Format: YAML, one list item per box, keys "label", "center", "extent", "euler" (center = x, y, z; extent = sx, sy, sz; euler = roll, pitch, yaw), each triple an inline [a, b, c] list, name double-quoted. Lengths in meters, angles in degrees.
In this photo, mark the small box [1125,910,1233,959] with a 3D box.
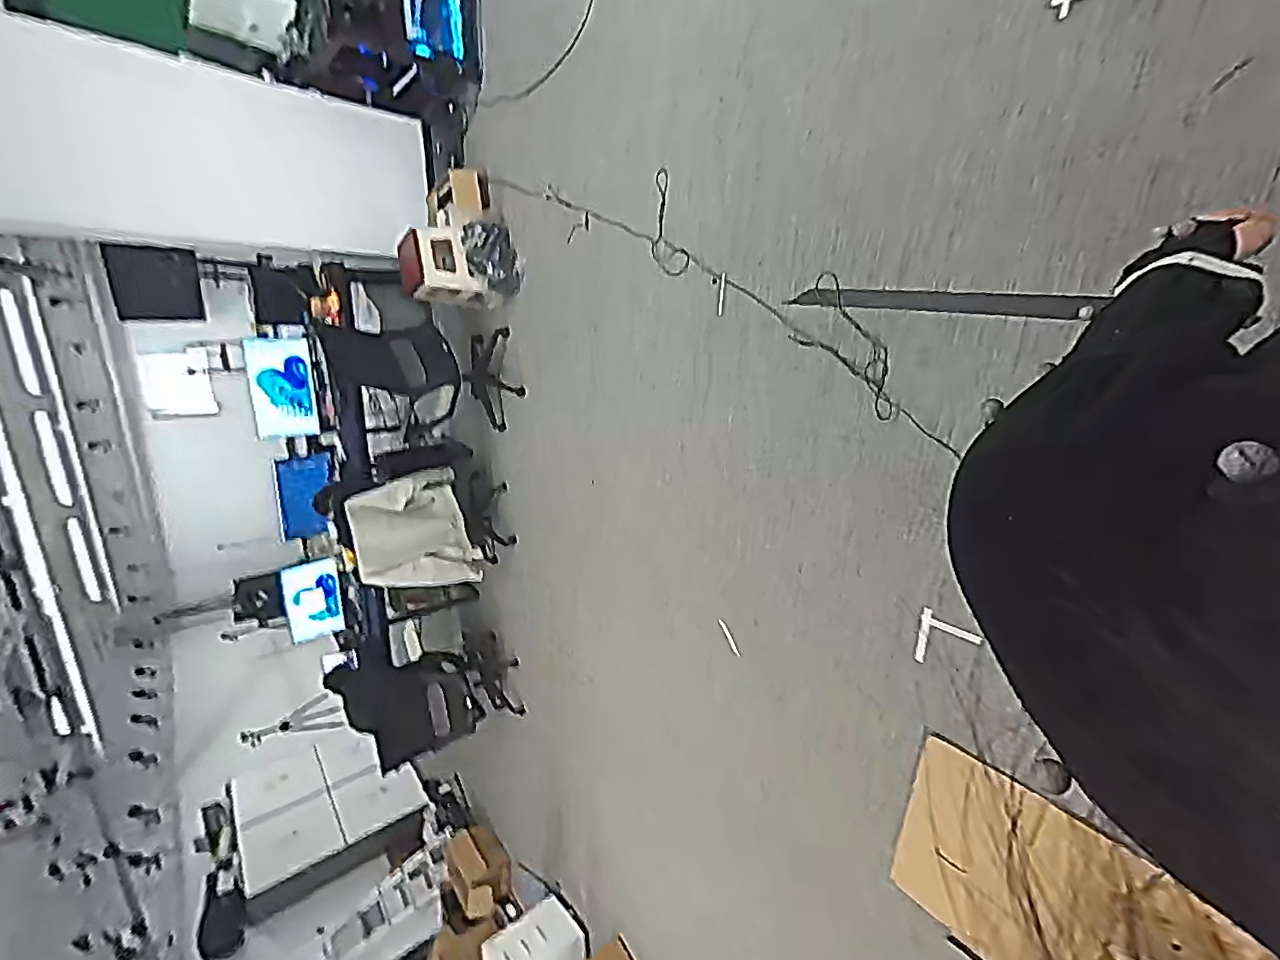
- label: "small box"
  center: [1.156, 1.087, 1.156]
  extent: [0.168, 0.176, 0.179]
  euler: [4, 102, 50]
